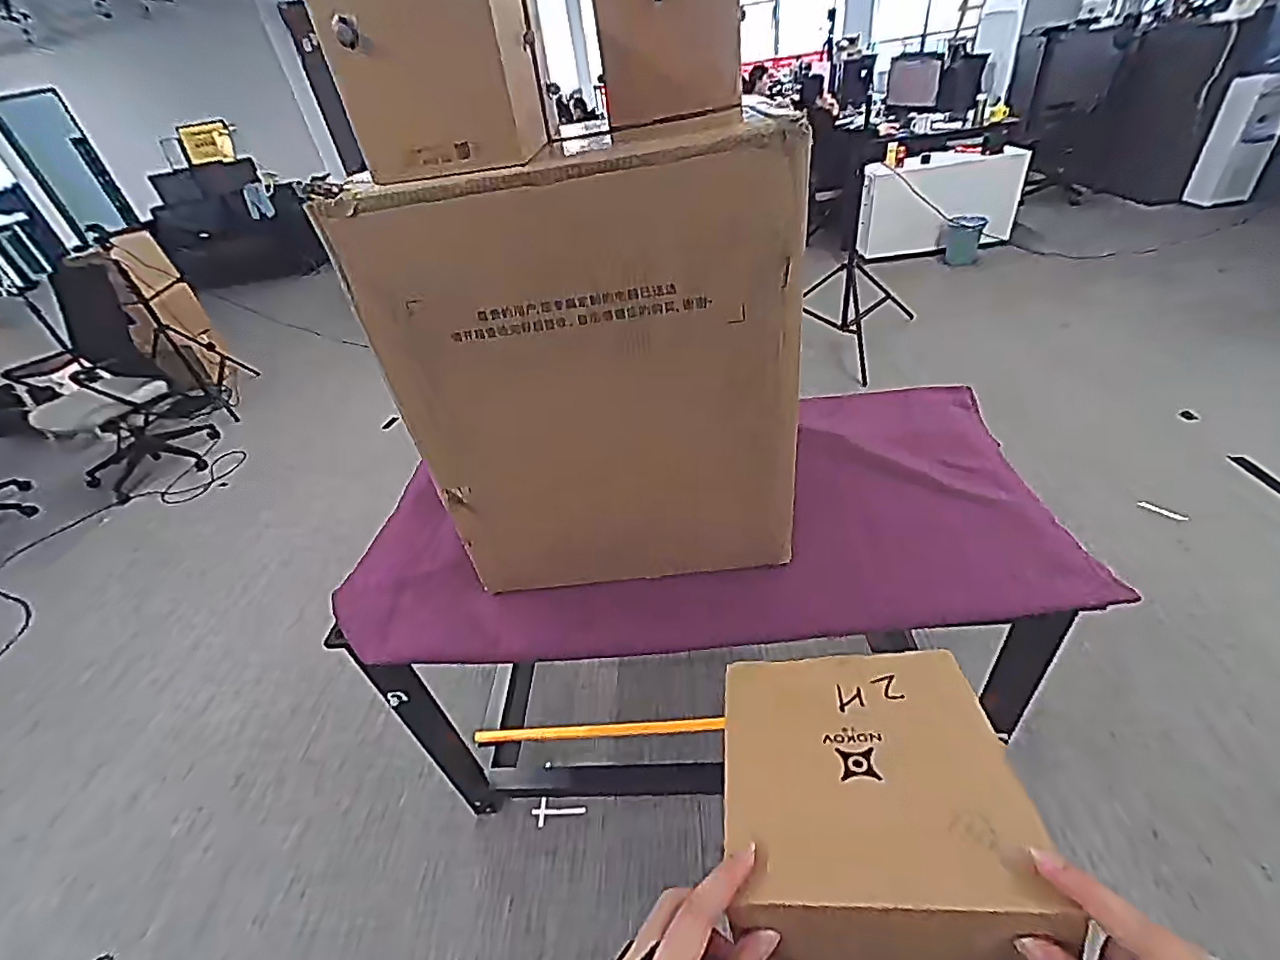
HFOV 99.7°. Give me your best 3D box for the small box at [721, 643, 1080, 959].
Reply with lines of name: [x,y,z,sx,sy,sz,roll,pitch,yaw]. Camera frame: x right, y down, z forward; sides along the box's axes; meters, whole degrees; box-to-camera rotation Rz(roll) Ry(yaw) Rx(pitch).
small box: [0.151,0.238,0.361,0.168,0.176,0.179,-8,21,13]

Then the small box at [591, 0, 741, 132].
small box: [0.035,-0.577,0.710,0.179,0.176,0.168,-8,37,5]
